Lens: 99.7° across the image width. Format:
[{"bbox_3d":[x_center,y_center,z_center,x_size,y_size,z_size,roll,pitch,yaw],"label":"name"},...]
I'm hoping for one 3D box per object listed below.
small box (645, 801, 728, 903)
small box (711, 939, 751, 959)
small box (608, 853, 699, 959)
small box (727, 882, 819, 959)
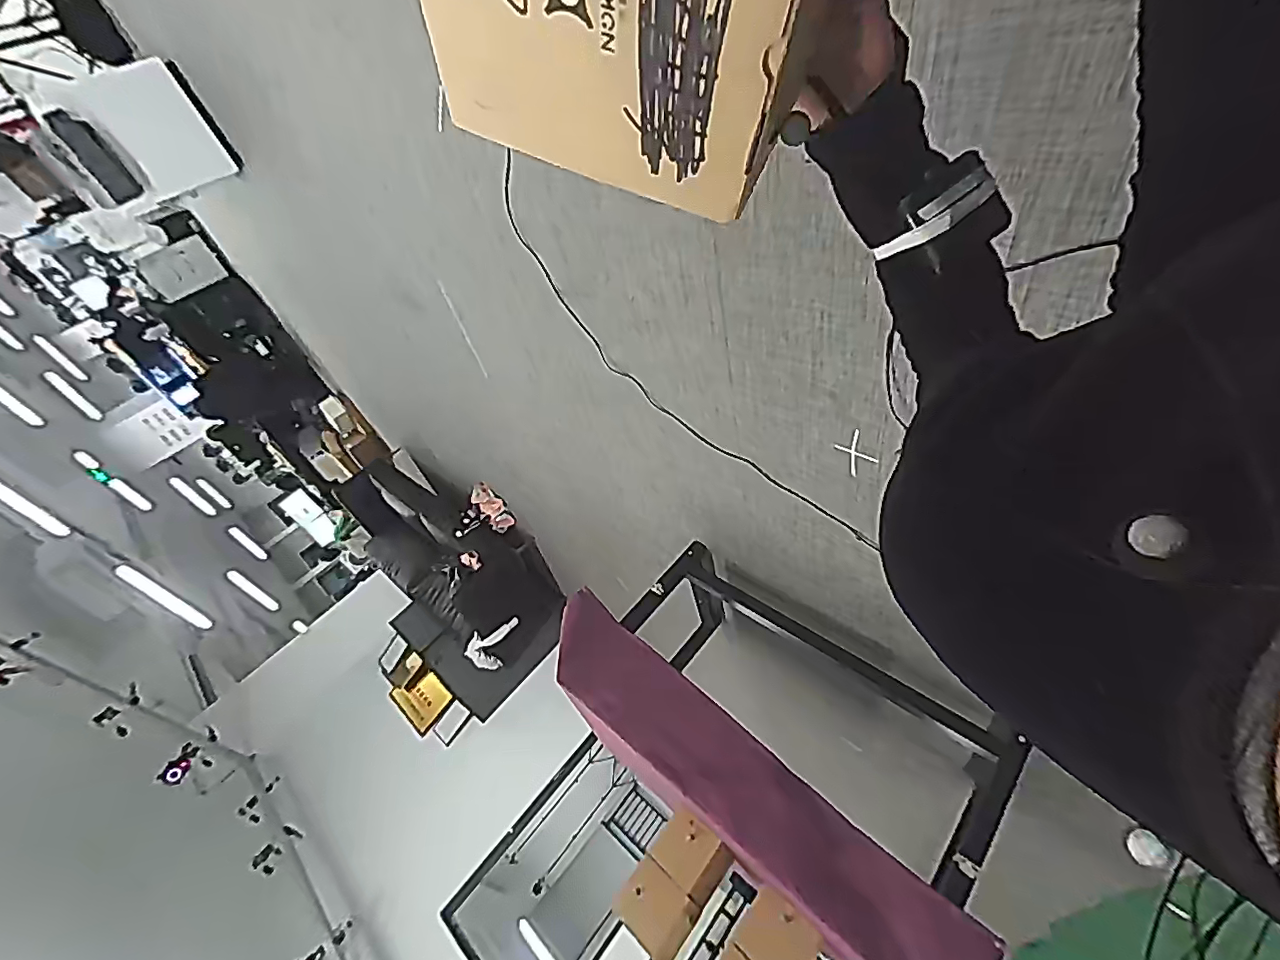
[{"bbox_3d":[0.149,1.128,1.647,0.168,0.176,0.179,21,144,42],"label":"small box"},{"bbox_3d":[0.252,1.332,1.394,0.179,0.176,0.168,25,147,37],"label":"small box"},{"bbox_3d":[0.043,1.228,1.574,0.179,0.176,0.168,22,147,41],"label":"small box"},{"bbox_3d":[0.362,1.230,1.463,0.179,0.176,0.168,26,148,38],"label":"small box"}]
